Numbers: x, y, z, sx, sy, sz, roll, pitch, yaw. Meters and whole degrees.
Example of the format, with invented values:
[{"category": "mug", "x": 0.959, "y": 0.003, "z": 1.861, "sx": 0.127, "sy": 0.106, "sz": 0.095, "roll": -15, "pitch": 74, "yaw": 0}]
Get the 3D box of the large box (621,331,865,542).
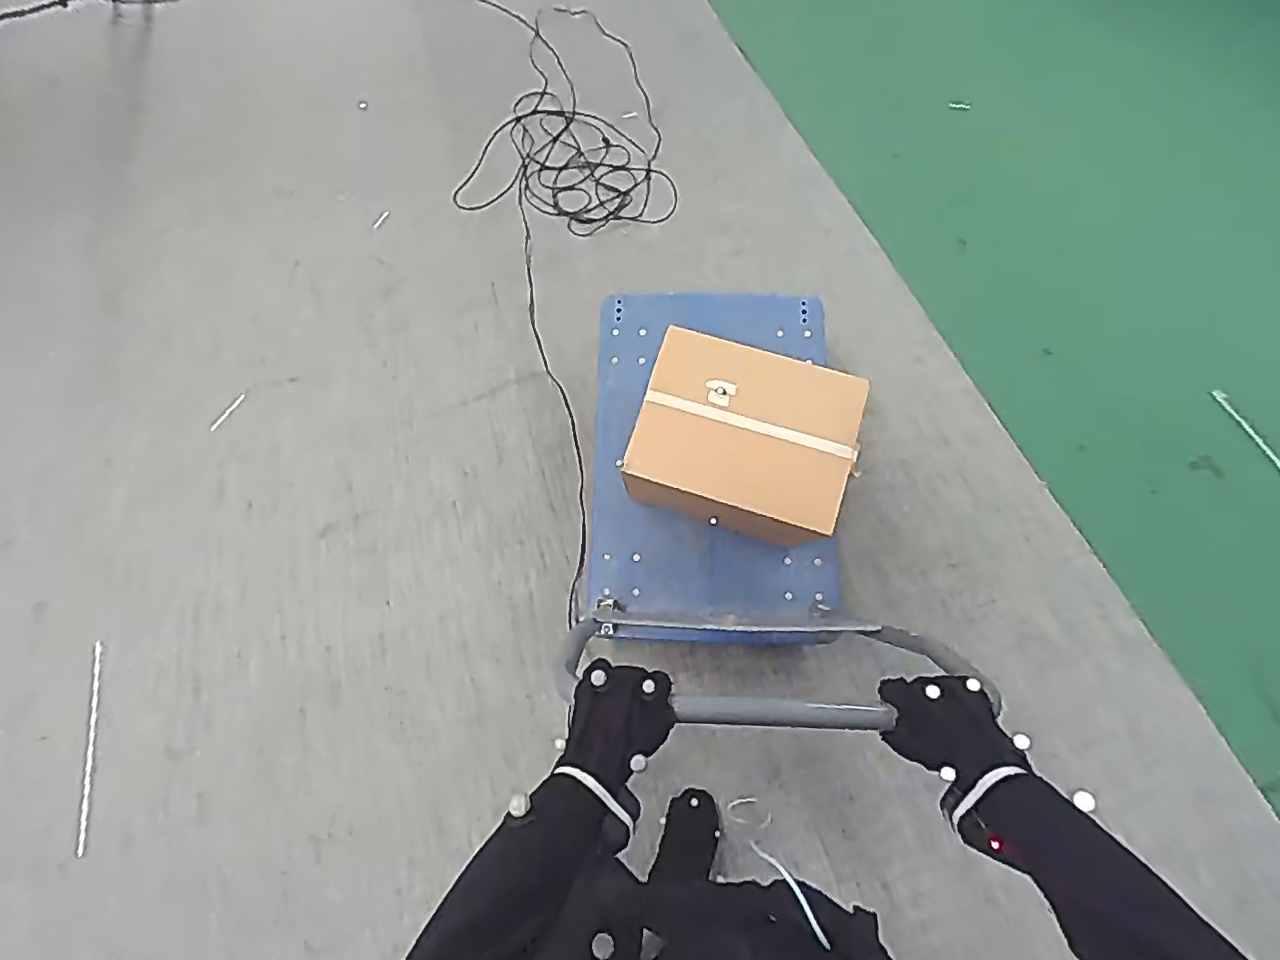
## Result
[{"category": "large box", "x": 0.207, "y": -0.072, "z": 1.163, "sx": 0.408, "sy": 0.320, "sz": 0.320, "roll": 16, "pitch": 79, "yaw": 7}]
